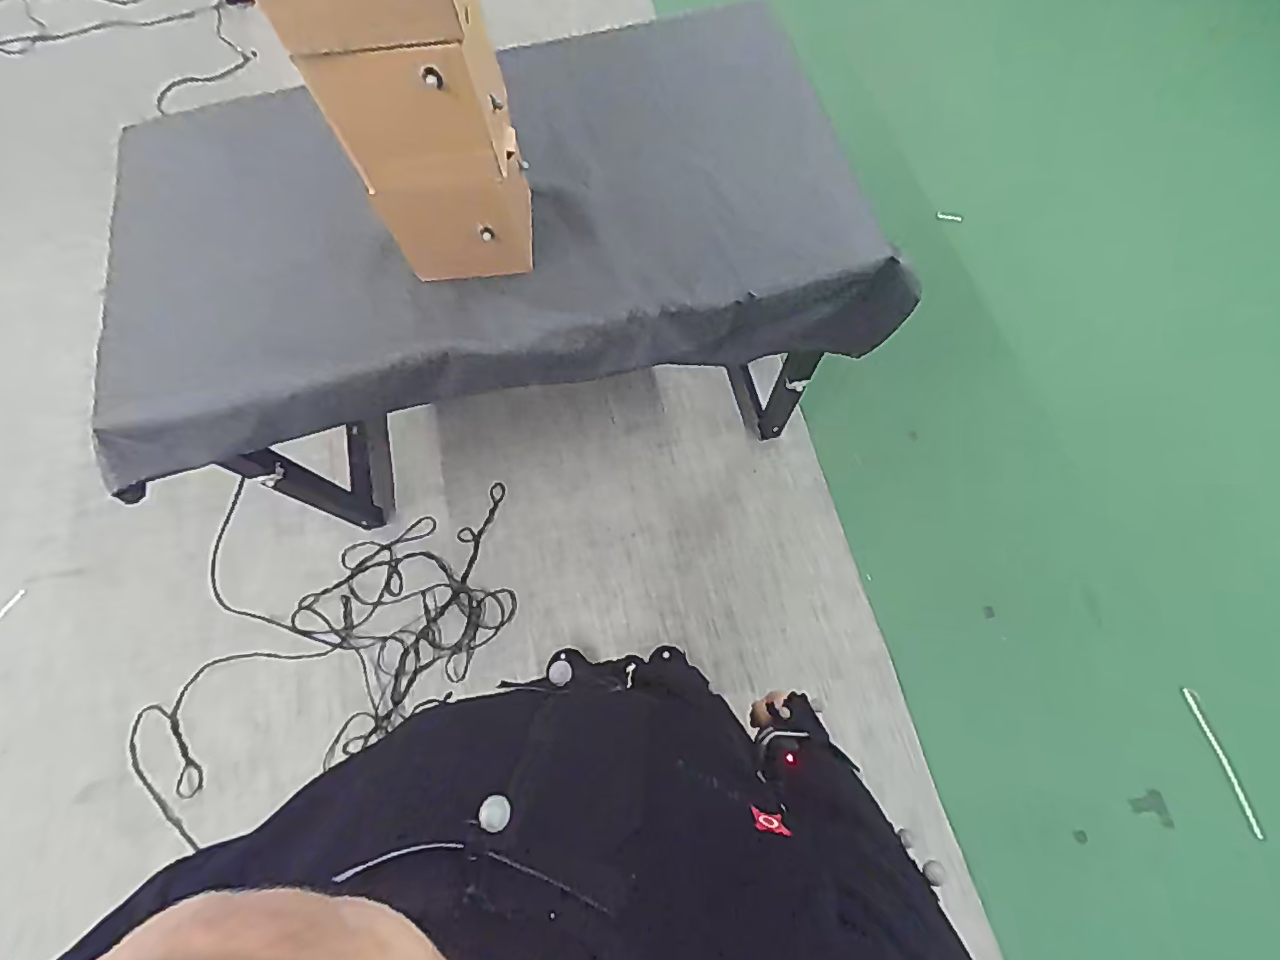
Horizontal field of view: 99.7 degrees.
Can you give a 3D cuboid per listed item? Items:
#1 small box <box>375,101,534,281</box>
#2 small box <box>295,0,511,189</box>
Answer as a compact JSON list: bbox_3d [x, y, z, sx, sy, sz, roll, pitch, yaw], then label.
[{"bbox_3d":[-0.255,-0.416,0.790,0.179,0.176,0.168,-5,70,1],"label":"small box"},{"bbox_3d":[-0.261,-0.473,0.638,0.179,0.176,0.168,-5,70,-1],"label":"small box"}]
